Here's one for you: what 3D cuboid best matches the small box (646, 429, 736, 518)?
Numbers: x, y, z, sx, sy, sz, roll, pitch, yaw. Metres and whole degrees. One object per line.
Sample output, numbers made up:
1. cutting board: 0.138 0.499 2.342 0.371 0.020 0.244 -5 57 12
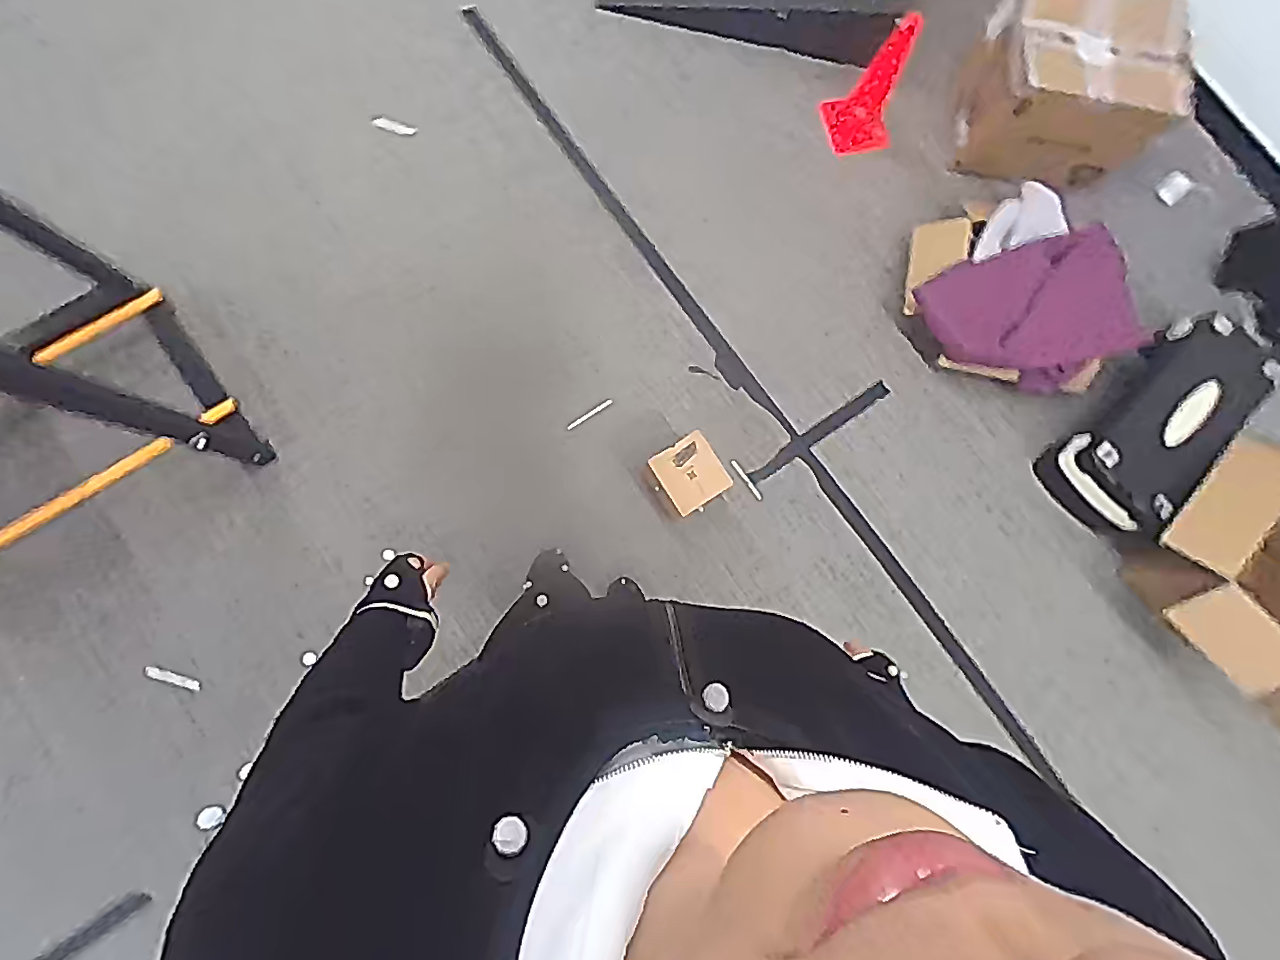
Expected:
1. small box: 0.129 -0.011 1.476 0.168 0.176 0.179 -32 86 -8
